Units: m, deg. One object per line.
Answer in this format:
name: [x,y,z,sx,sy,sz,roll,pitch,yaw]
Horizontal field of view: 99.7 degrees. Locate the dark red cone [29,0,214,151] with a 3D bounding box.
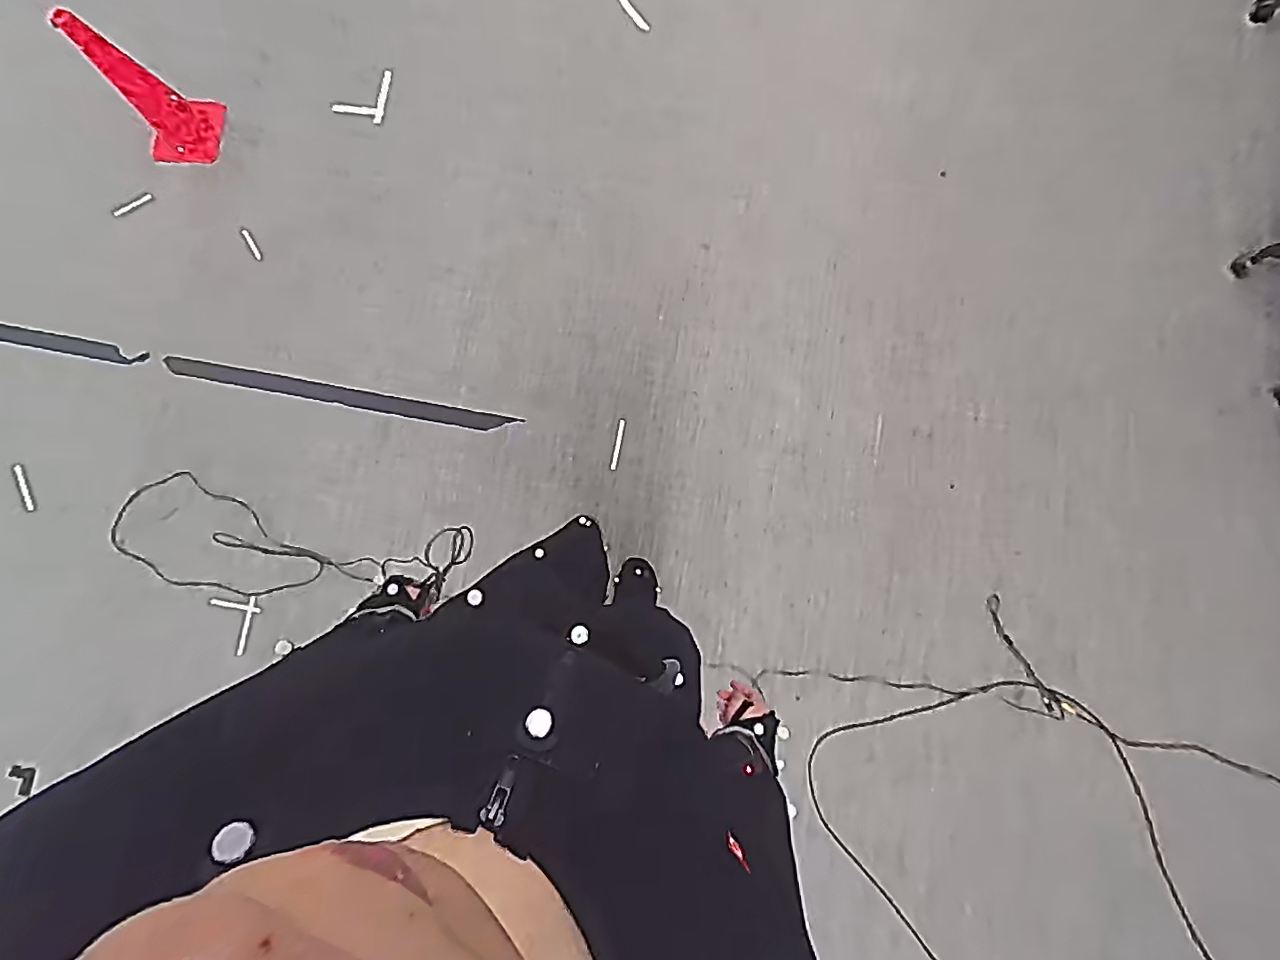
dark red cone: [-1.345,-1.061,1.398,0.202,0.394,0.201,3,83,2]
